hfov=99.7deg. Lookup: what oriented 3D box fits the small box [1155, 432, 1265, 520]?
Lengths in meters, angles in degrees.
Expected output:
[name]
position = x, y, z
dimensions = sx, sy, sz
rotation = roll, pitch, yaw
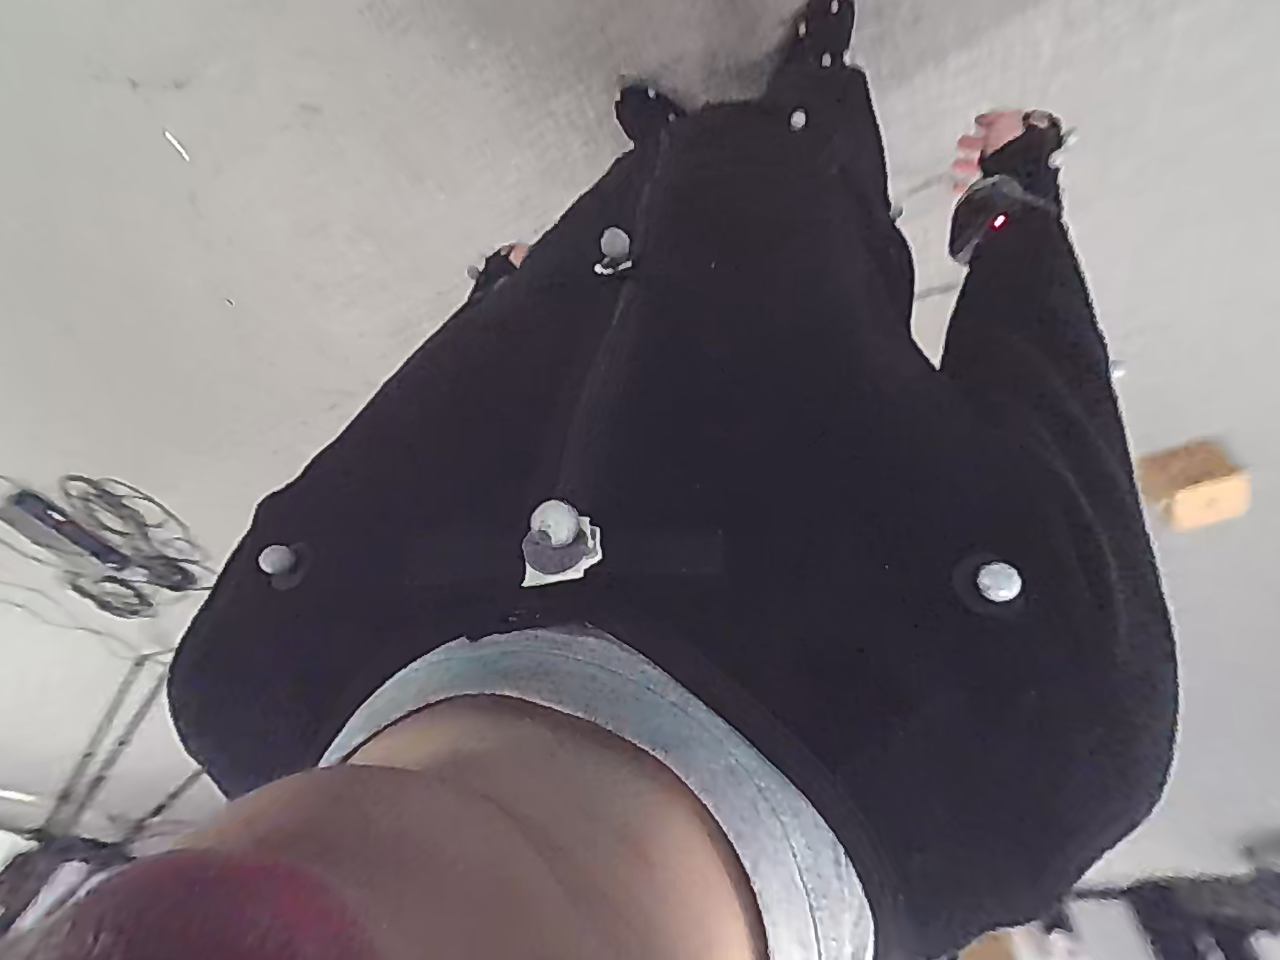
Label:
[small box]
position = 1.655, -0.018, 1.578
dimensions = 0.168, 0.176, 0.179
rotation = -25, 125, 26
